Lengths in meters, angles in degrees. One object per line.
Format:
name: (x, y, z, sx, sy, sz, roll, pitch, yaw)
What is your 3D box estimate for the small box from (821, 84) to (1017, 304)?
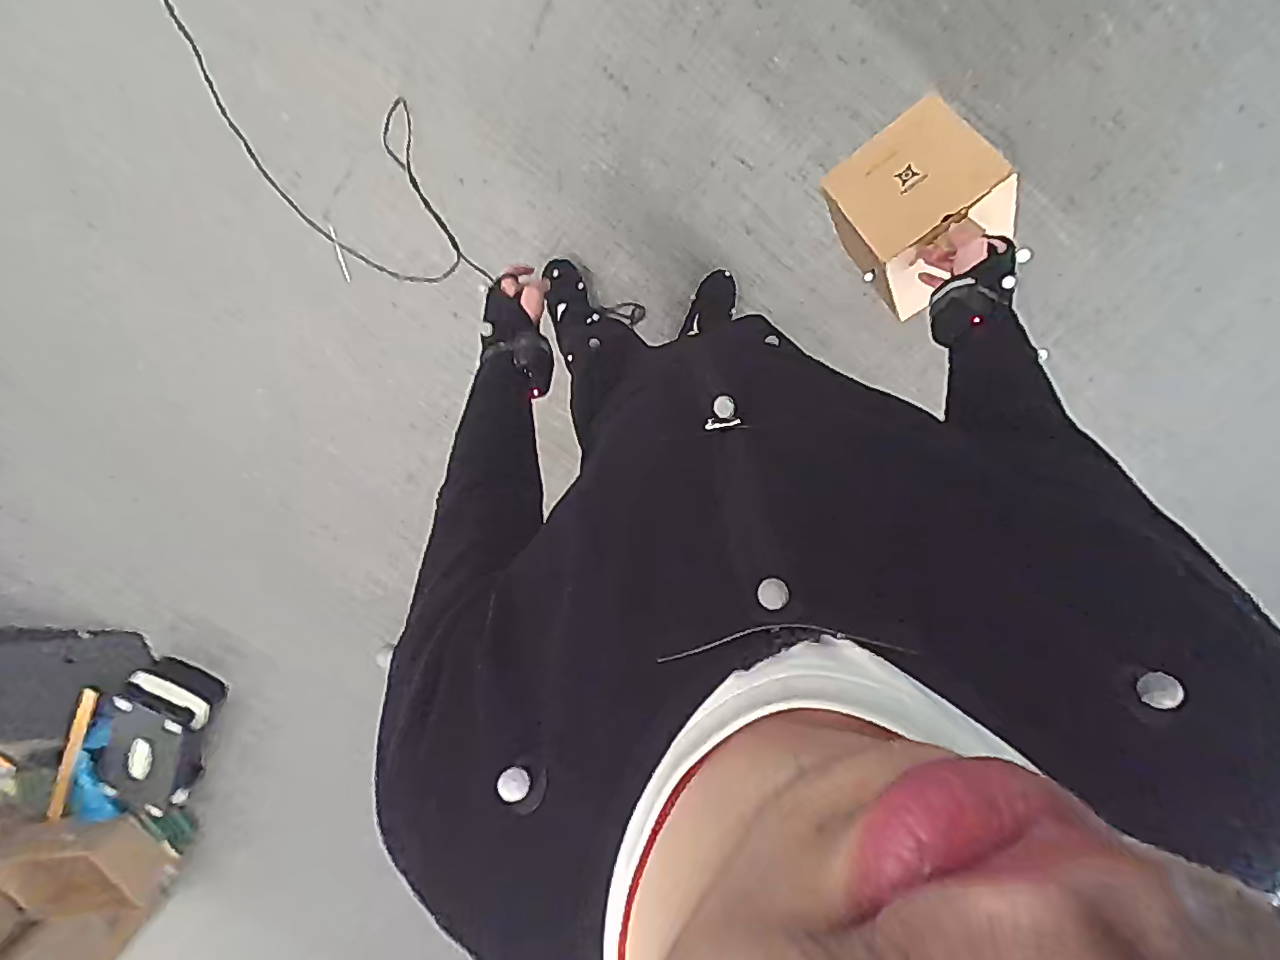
small box: (0.377, -0.369, 0.738, 0.168, 0.176, 0.179, -30, 66, 22)
